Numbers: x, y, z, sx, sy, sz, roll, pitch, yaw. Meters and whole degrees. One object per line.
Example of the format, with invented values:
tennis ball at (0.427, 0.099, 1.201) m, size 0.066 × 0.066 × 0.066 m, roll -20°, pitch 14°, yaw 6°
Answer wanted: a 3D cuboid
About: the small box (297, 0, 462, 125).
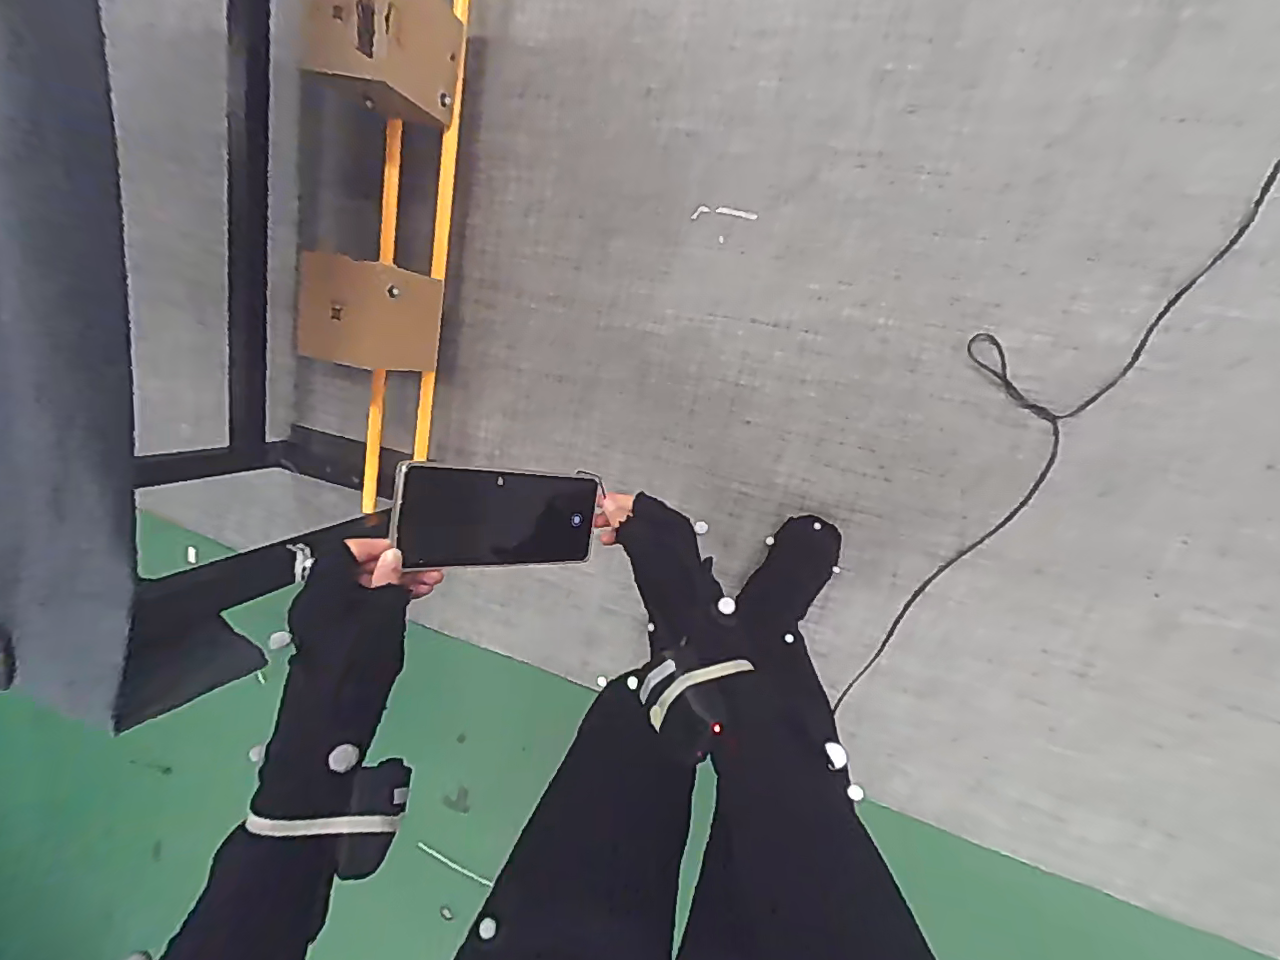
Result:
small box at (-0.420, -0.715, 0.889) m, size 0.179 × 0.176 × 0.168 m, roll 18°, pitch 105°, yaw 14°
